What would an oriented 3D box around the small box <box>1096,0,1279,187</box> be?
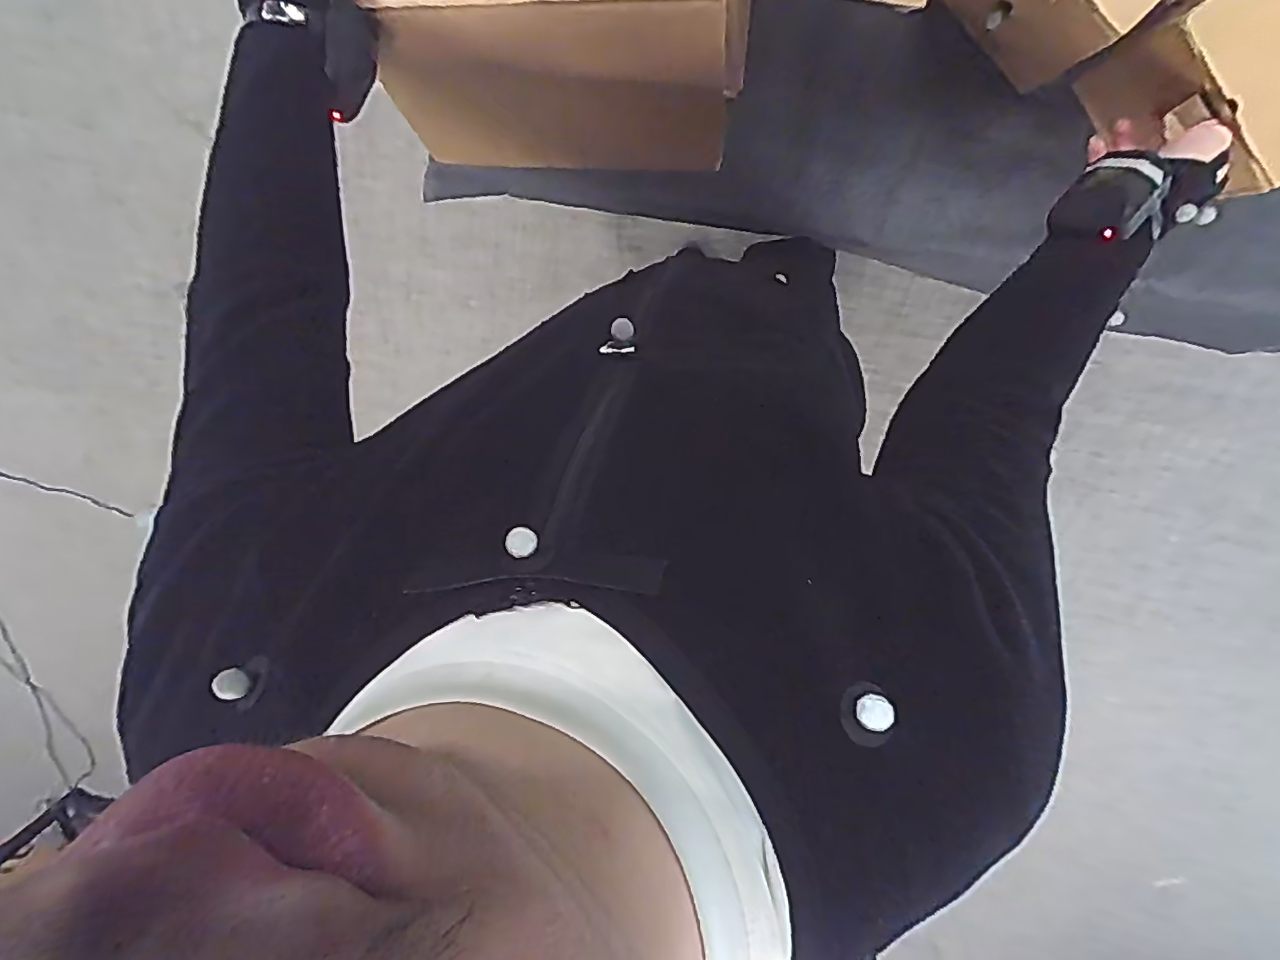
[{"bbox_3d":[0.559,-0.390,0.477,0.179,0.176,0.168,-38,102,23],"label":"small box"}]
